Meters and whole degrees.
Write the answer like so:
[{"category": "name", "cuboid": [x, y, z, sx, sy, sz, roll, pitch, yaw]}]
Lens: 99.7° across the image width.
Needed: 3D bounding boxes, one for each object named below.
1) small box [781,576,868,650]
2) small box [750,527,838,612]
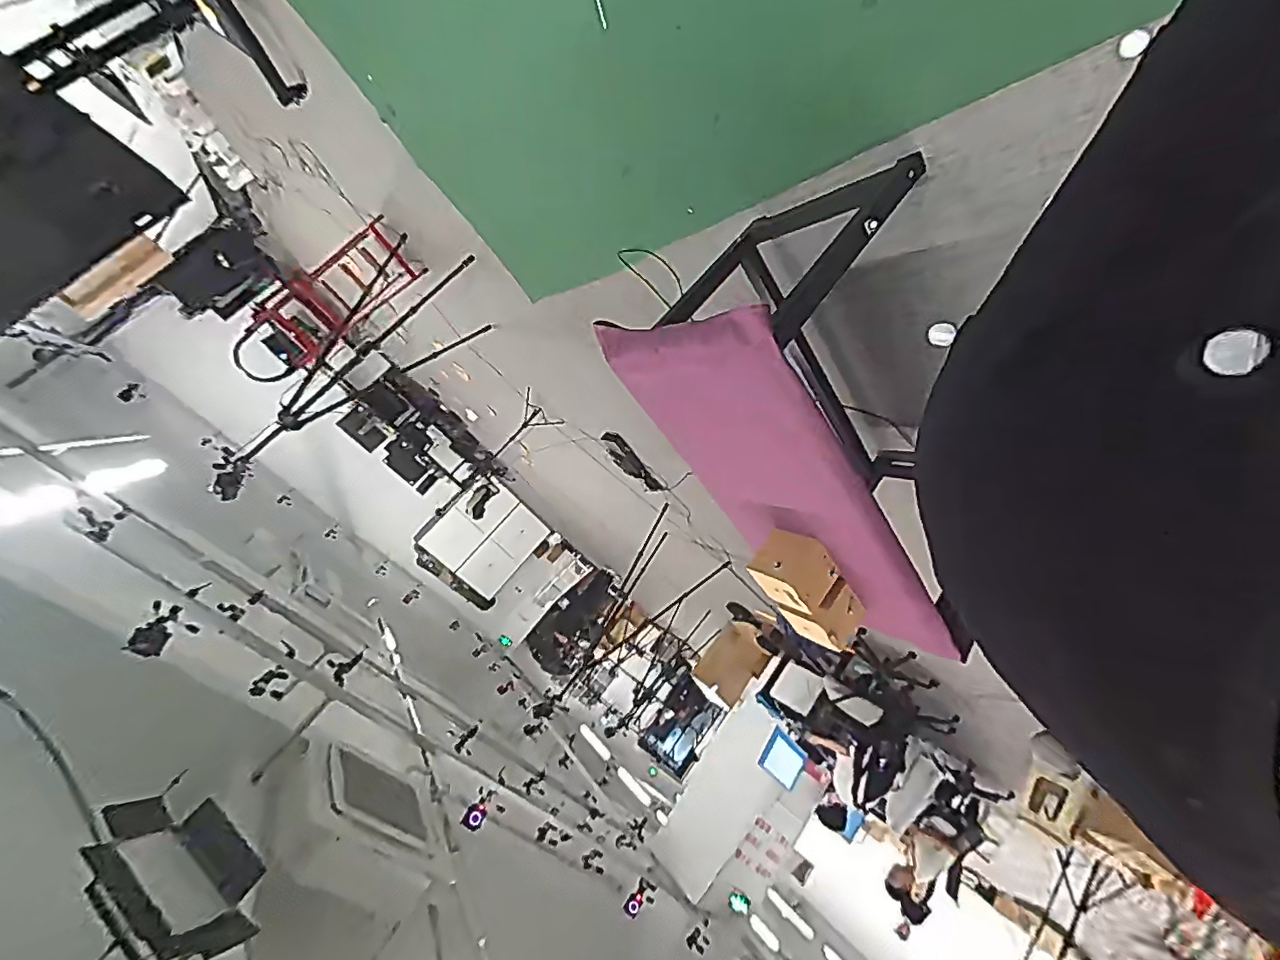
[{"category": "small box", "cuboid": [0.599, 0.410, 1.754, 0.168, 0.176, 0.179, 49, 161, -28]}, {"category": "small box", "cuboid": [0.479, 0.266, 1.650, 0.168, 0.176, 0.179, 50, 161, -29]}]
